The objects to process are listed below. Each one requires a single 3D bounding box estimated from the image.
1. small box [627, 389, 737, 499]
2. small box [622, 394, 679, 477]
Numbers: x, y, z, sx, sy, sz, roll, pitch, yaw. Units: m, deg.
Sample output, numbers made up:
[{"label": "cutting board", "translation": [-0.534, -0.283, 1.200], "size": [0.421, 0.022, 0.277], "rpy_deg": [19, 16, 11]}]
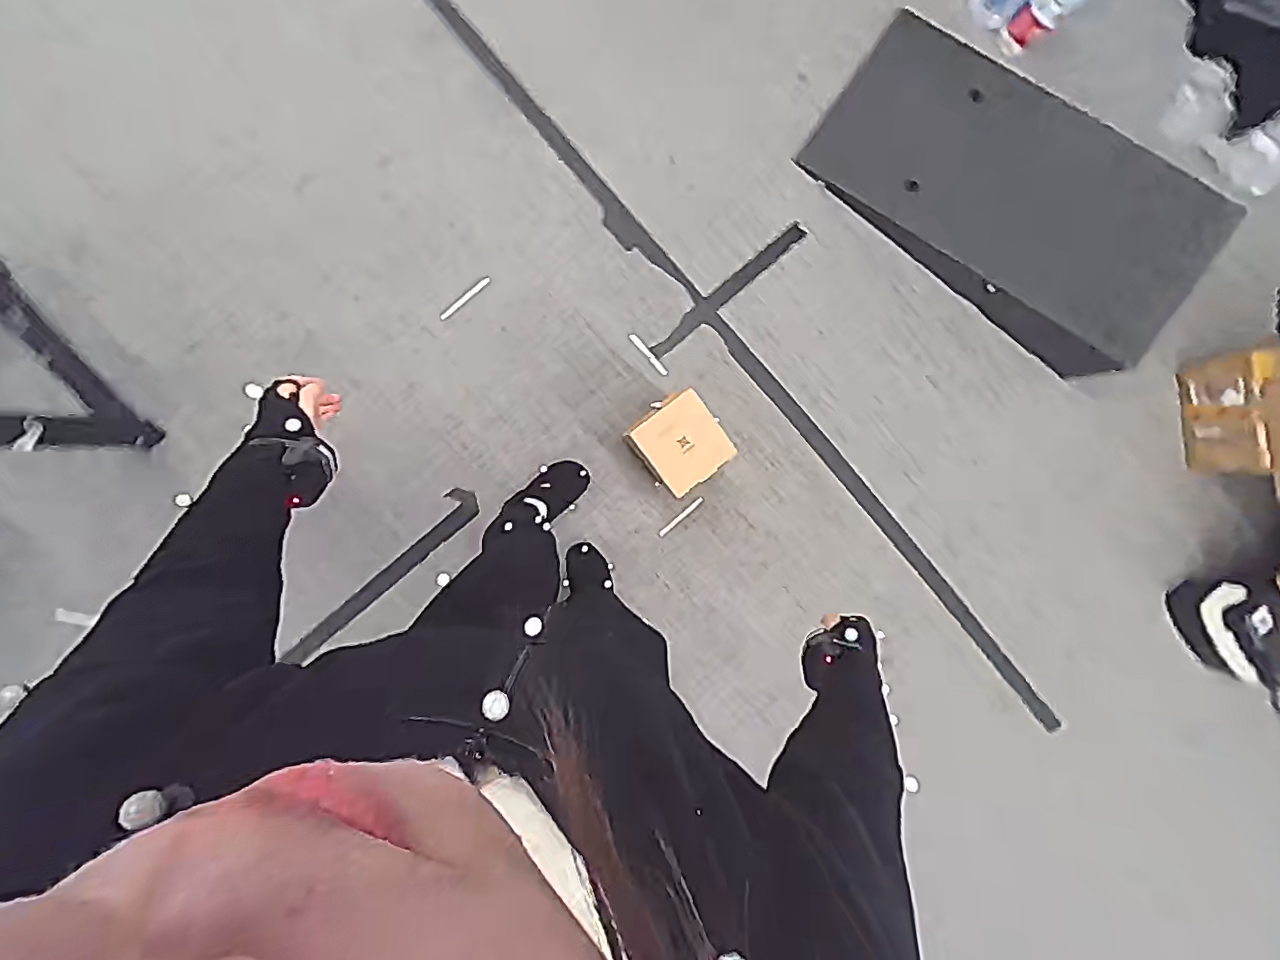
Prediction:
[{"label": "small box", "translation": [0.086, -0.081, 1.202], "size": [0.168, 0.176, 0.179], "rpy_deg": [-36, 95, -1]}, {"label": "small box", "translation": [0.071, -0.099, 1.364], "size": [0.168, 0.176, 0.179], "rpy_deg": [-39, 97, -1]}]
